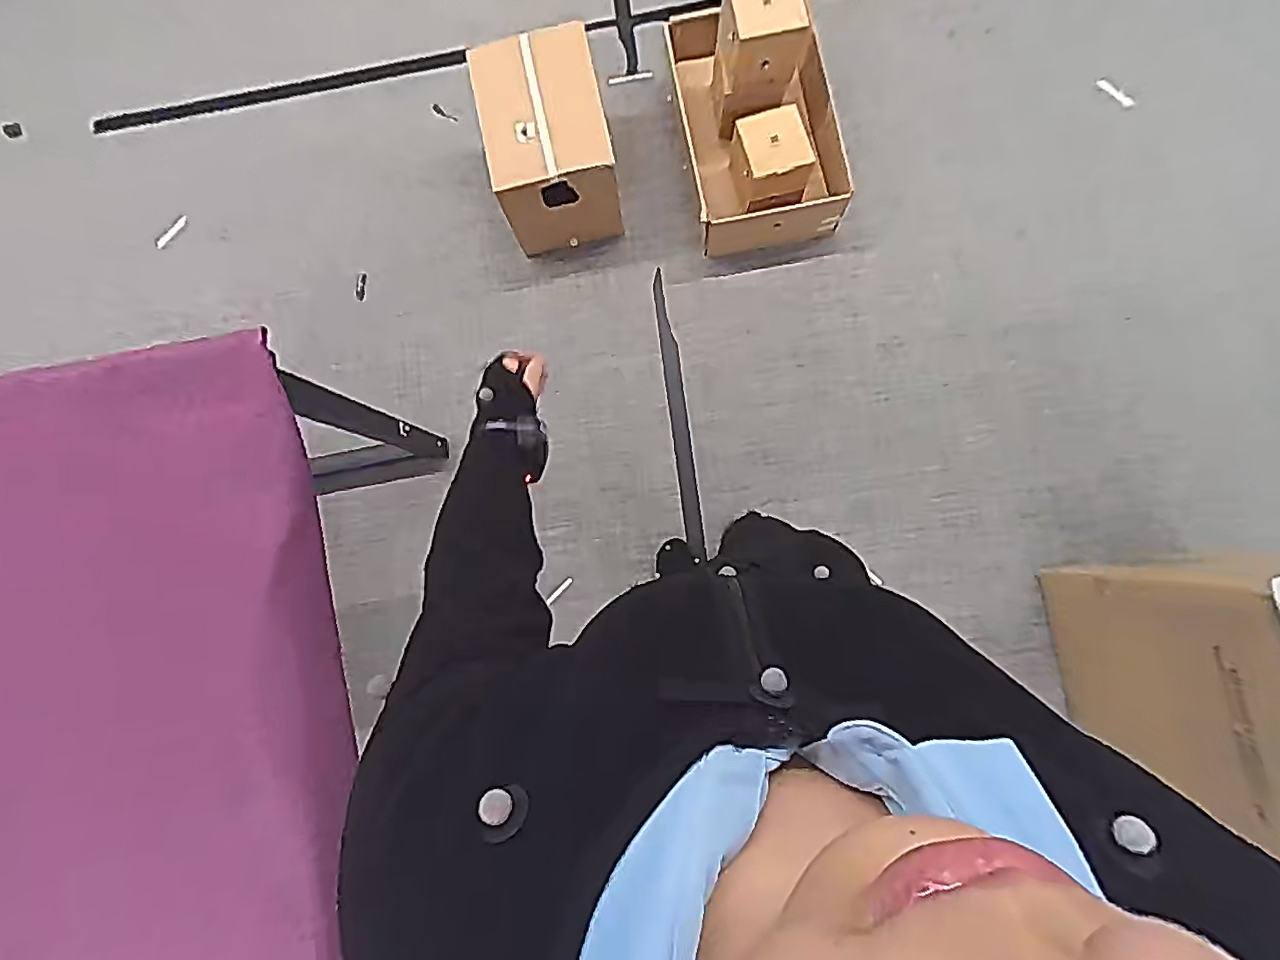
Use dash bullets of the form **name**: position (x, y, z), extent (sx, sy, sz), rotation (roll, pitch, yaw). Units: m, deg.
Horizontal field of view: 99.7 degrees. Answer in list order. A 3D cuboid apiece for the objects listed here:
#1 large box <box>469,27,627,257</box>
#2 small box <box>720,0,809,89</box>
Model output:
- **large box**: position (-0.236, -0.907, 1.494), extent (0.320, 0.320, 0.408), rotation (-13, 84, 2)
- **small box**: position (0.302, -1.114, 1.341), extent (0.168, 0.176, 0.179), rotation (-11, 85, 0)
